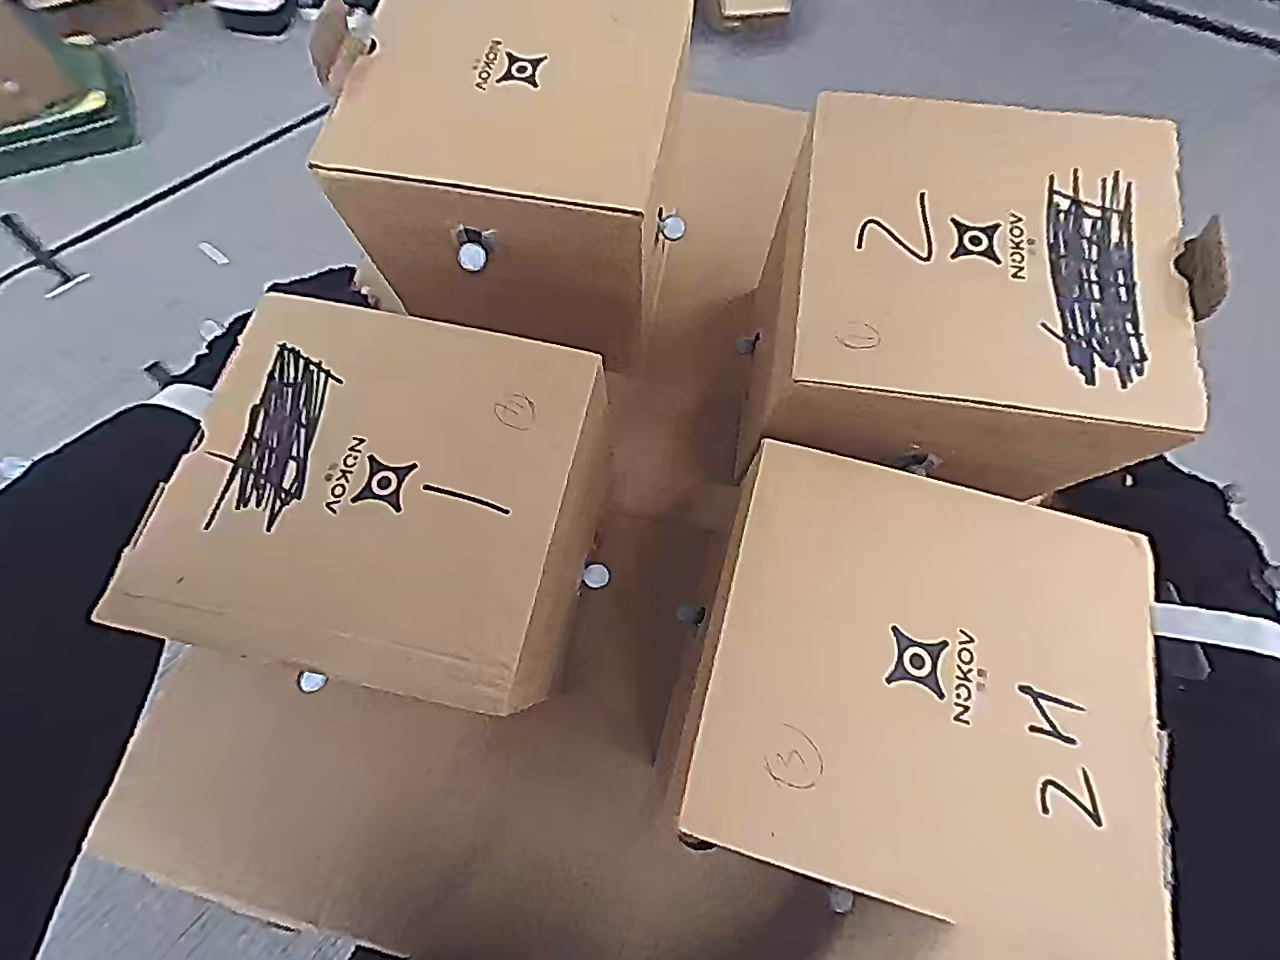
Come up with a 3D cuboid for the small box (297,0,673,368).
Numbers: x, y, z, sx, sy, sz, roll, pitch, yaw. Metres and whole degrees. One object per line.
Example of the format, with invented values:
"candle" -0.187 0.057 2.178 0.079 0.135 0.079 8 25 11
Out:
"small box" -0.078 -0.194 0.373 0.179 0.176 0.168 9 73 4
